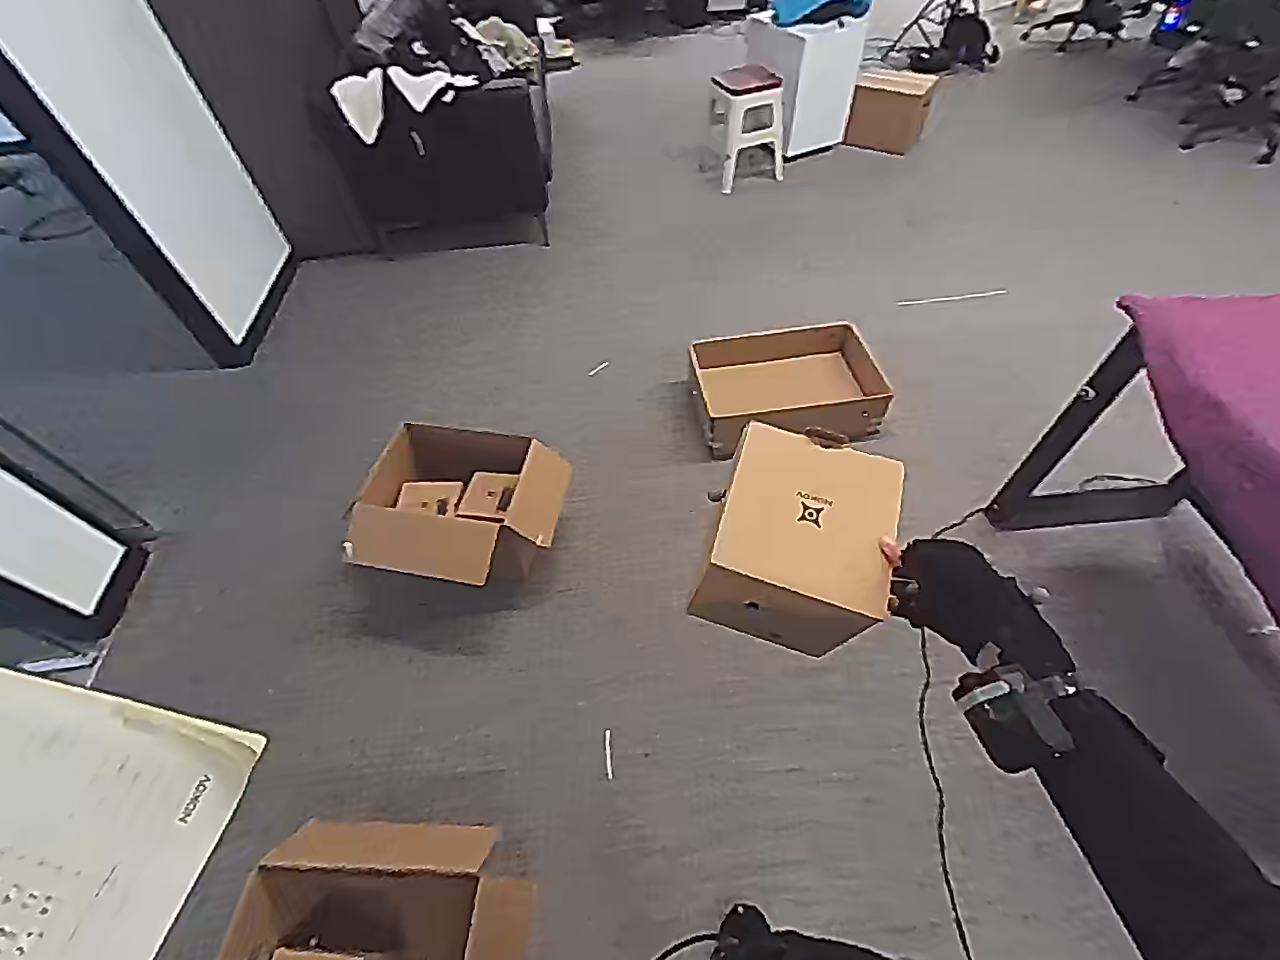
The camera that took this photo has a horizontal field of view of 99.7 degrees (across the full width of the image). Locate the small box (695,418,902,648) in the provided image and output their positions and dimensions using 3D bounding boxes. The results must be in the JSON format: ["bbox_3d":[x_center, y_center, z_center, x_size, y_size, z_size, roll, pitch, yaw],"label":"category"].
[{"bbox_3d":[0.165,0.067,0.600,0.168,0.176,0.179,18,60,6],"label":"small box"}]
